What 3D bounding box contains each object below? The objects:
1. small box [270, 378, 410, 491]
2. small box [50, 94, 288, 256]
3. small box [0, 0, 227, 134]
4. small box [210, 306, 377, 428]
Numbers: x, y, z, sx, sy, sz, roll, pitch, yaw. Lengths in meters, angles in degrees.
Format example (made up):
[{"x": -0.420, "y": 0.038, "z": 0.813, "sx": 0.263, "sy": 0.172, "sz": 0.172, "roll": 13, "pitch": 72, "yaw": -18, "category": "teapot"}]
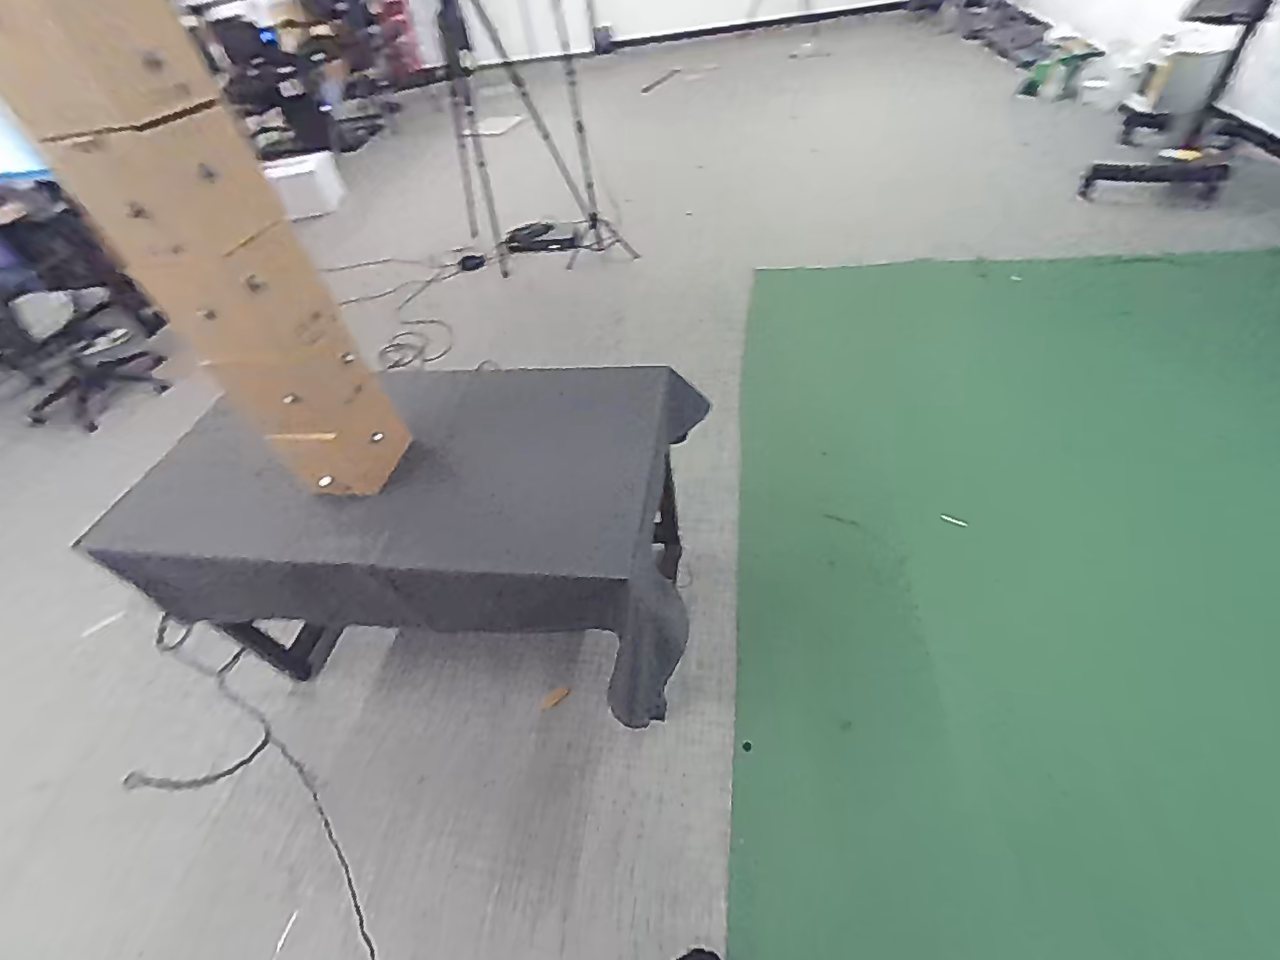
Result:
[{"x": -0.619, "y": -0.099, "z": 1.149, "sx": 0.168, "sy": 0.176, "sz": 0.179, "roll": 2, "pitch": 48, "yaw": 12, "category": "small box"}, {"x": -0.683, "y": -0.451, "z": 0.815, "sx": 0.168, "sy": 0.176, "sz": 0.179, "roll": 1, "pitch": 47, "yaw": 11, "category": "small box"}, {"x": -0.702, "y": -0.563, "z": 0.694, "sx": 0.179, "sy": 0.176, "sz": 0.168, "roll": 1, "pitch": 46, "yaw": 12, "category": "small box"}, {"x": -0.643, "y": -0.212, "z": 1.034, "sx": 0.179, "sy": 0.176, "sz": 0.168, "roll": 0, "pitch": 46, "yaw": 10, "category": "small box"}]
